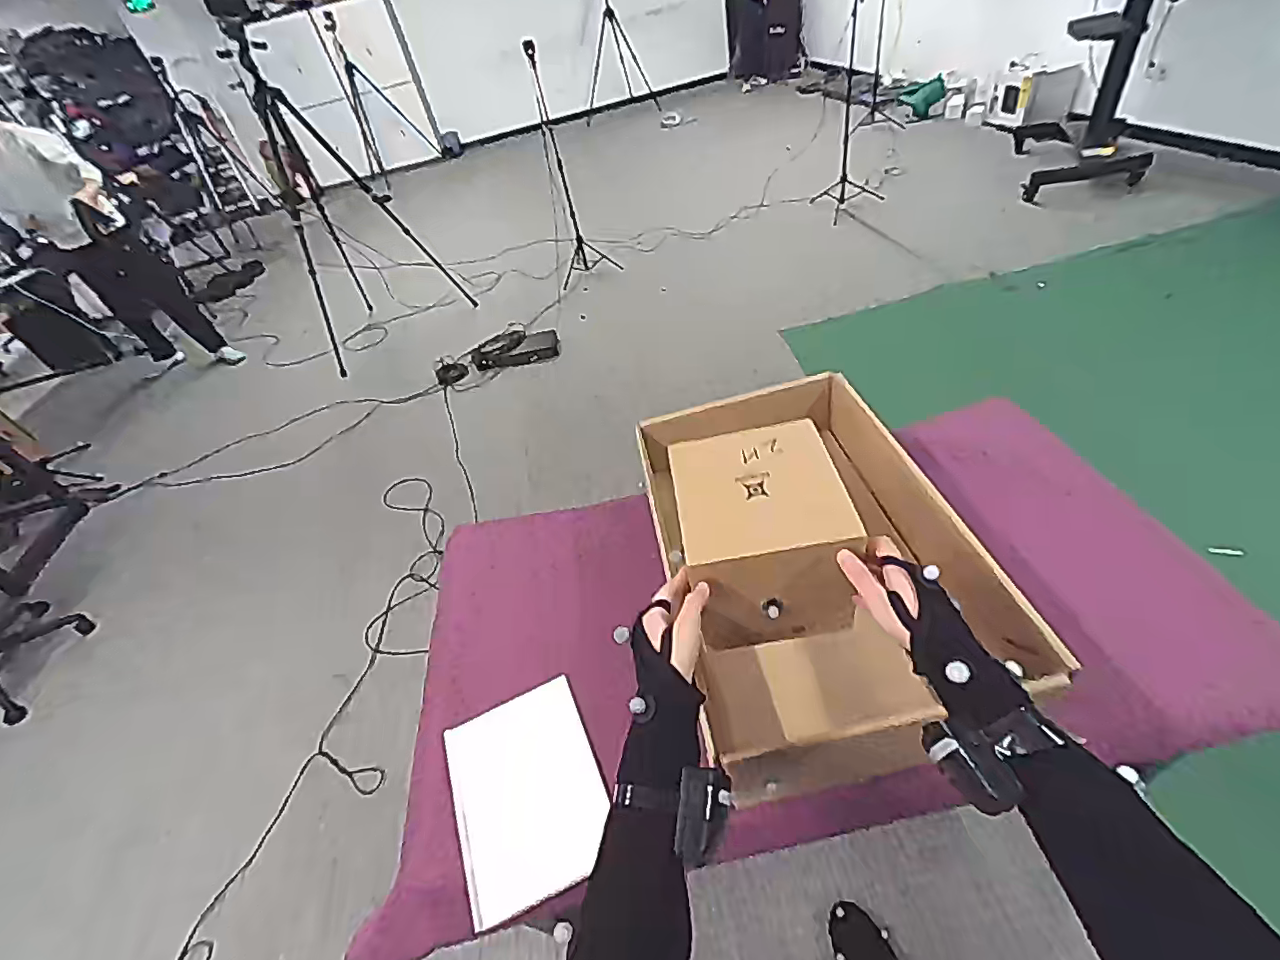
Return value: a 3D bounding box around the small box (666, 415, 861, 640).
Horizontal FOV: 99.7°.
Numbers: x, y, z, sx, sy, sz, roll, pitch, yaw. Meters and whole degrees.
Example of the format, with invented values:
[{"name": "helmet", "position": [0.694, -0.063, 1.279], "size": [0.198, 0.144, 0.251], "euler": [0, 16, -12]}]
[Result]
[{"name": "small box", "position": [0.129, 0.059, 0.595], "size": [0.168, 0.176, 0.179], "euler": [-11, 43, 5]}]
